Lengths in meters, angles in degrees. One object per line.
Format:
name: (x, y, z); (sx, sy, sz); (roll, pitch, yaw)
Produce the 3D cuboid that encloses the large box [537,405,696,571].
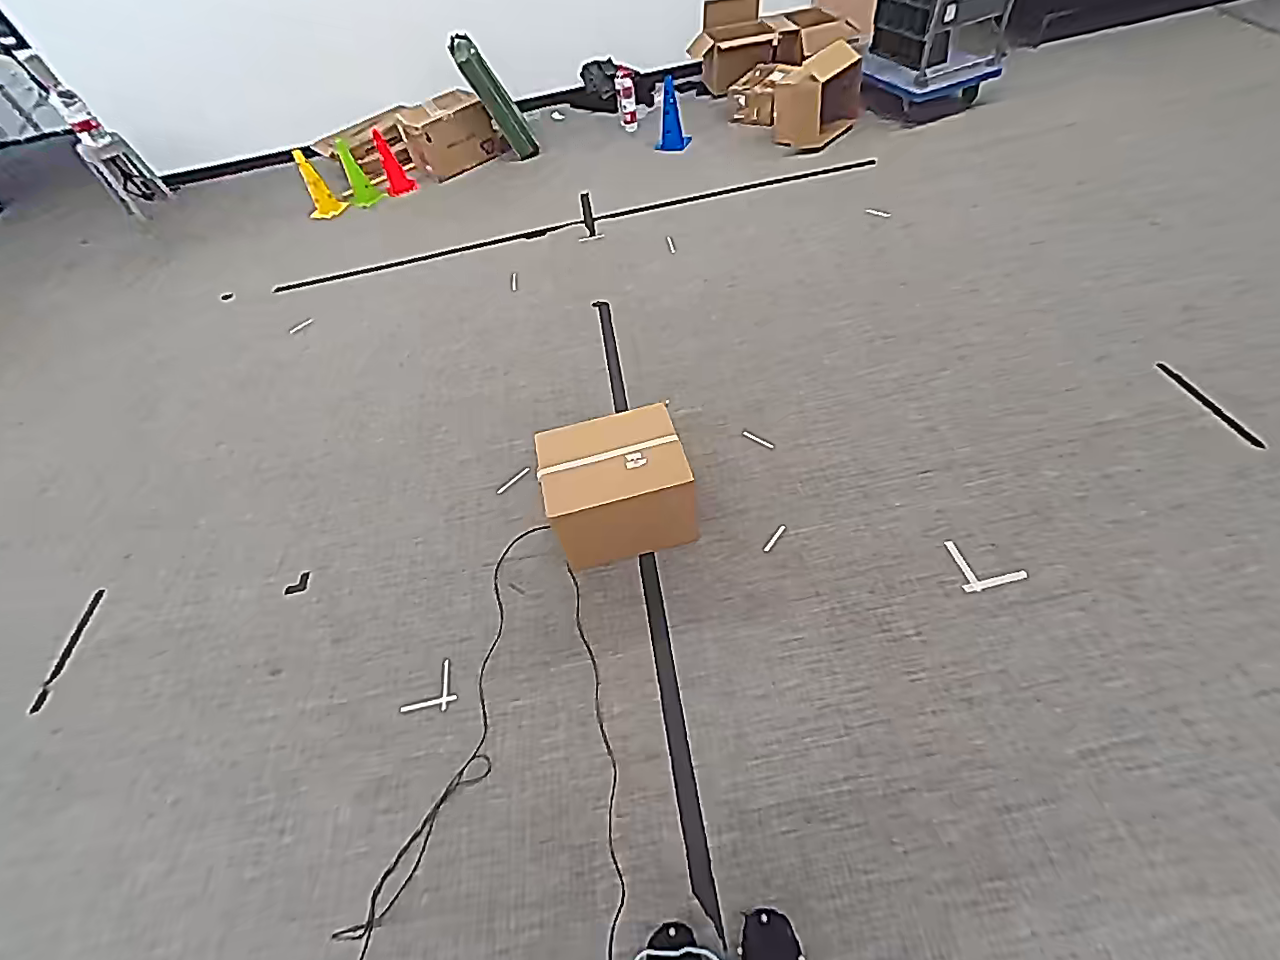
large box: (-0.065, 0.030, 1.630); (0.408, 0.320, 0.320); (-14, 53, -3)
